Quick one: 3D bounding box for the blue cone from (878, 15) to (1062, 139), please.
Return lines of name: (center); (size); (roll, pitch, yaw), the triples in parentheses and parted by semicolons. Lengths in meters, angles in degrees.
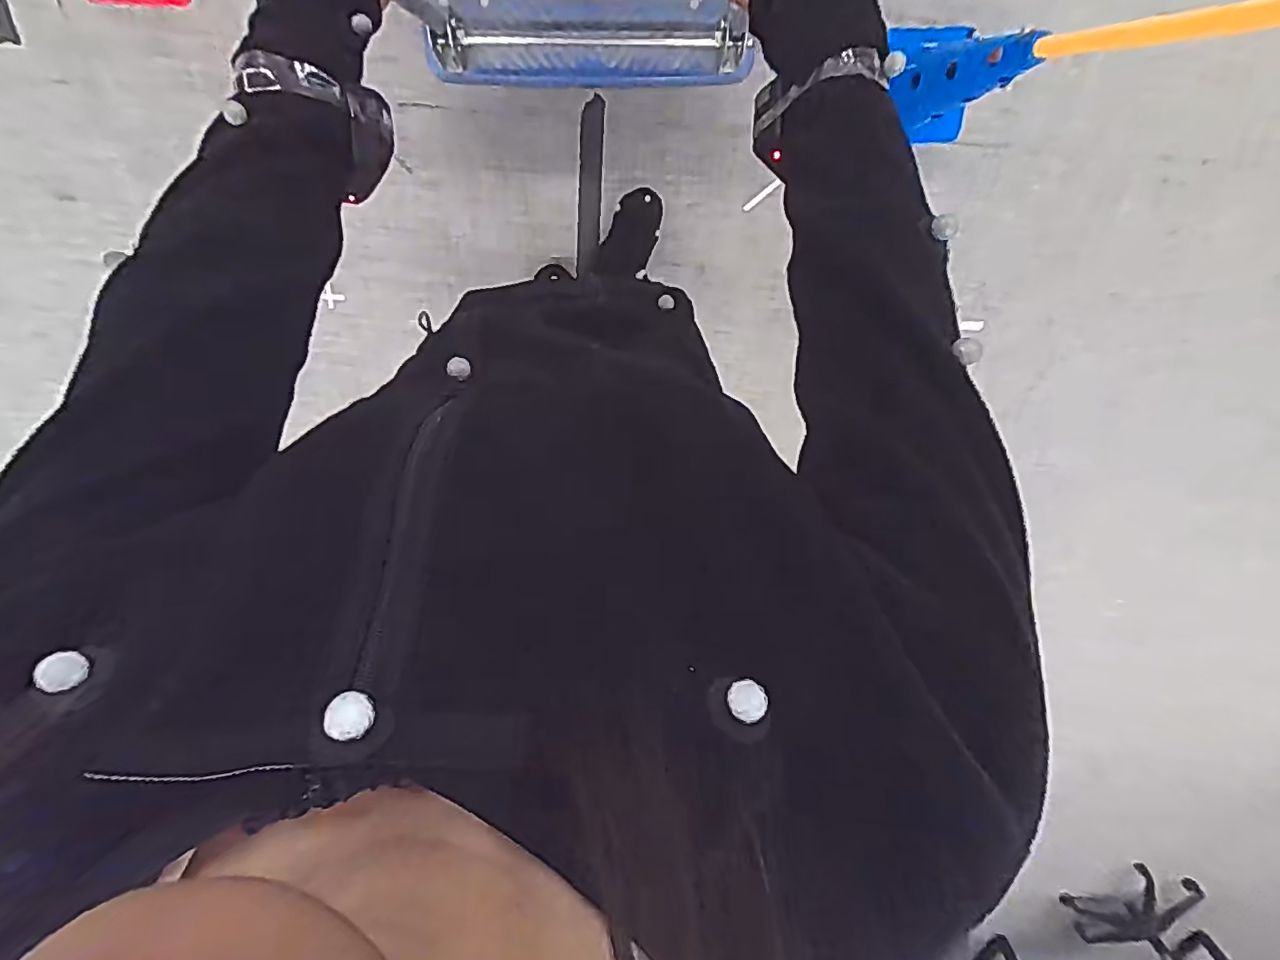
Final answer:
blue cone: (0.603, -0.746, 0.974); (0.193, 0.380, 0.192); (-1, 117, -3)
